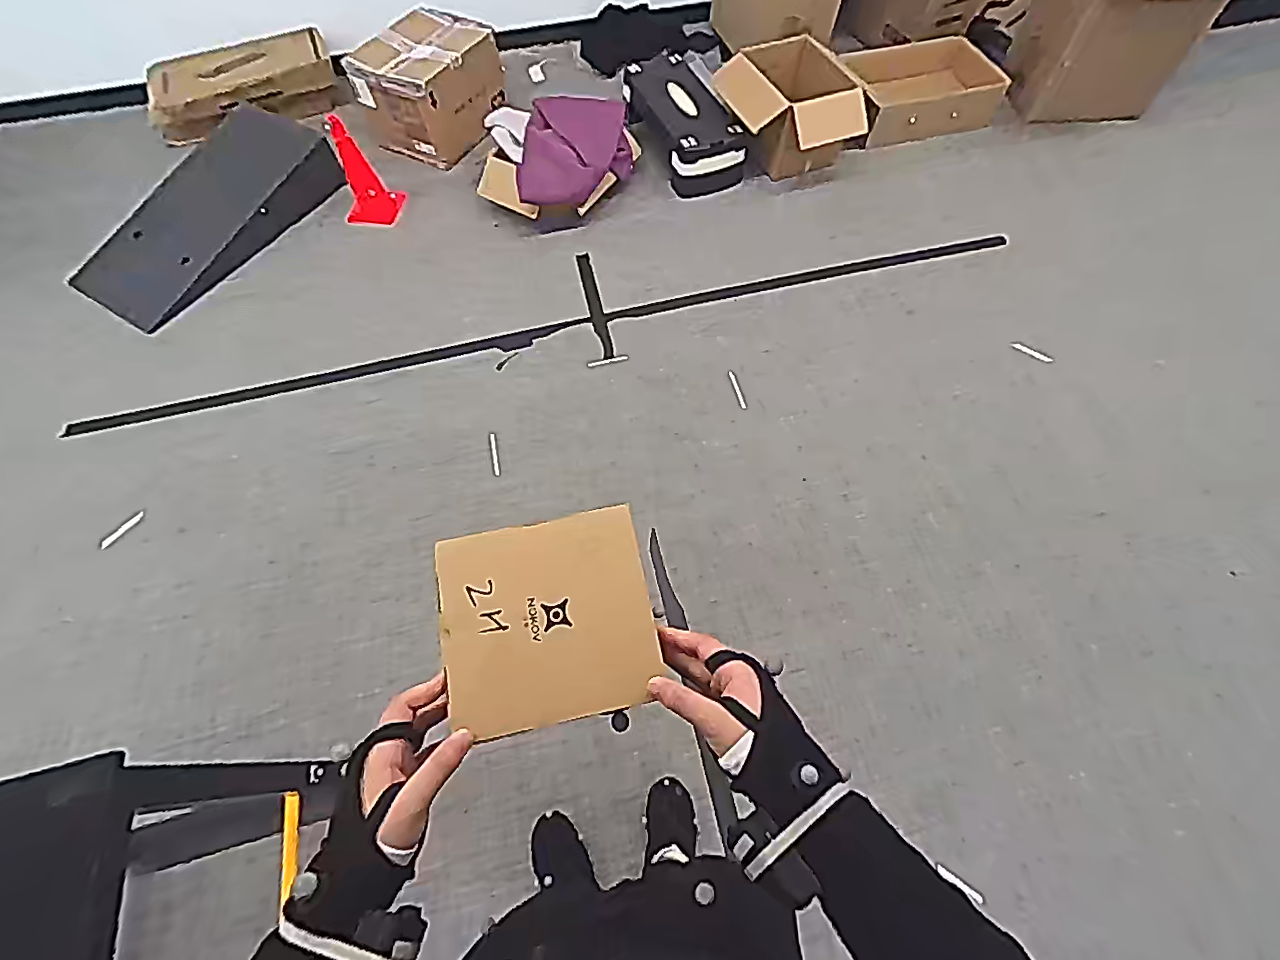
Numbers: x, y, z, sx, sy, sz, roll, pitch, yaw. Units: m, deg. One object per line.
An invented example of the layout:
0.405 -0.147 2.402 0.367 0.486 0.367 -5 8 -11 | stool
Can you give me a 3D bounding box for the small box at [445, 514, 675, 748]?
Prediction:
-0.072 0.148 0.529 0.179 0.176 0.168 -11 69 -4 | small box
